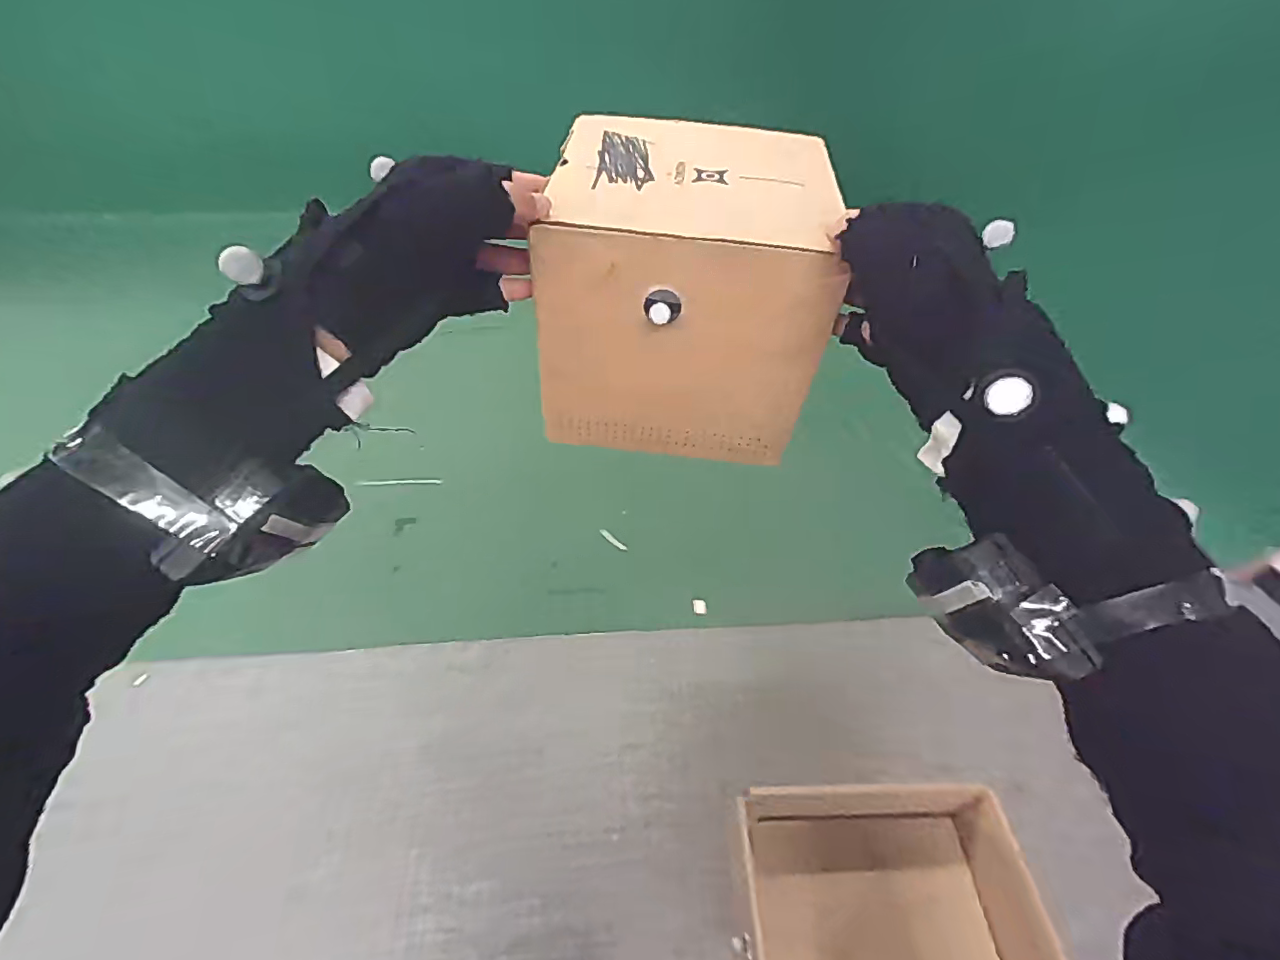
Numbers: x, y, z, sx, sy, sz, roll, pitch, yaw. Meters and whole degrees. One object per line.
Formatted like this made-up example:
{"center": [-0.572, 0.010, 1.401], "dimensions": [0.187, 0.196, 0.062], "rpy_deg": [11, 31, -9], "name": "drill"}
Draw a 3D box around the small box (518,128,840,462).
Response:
{"center": [0.023, -0.130, 0.397], "dimensions": [0.179, 0.176, 0.168], "rpy_deg": [7, 50, 0], "name": "small box"}
